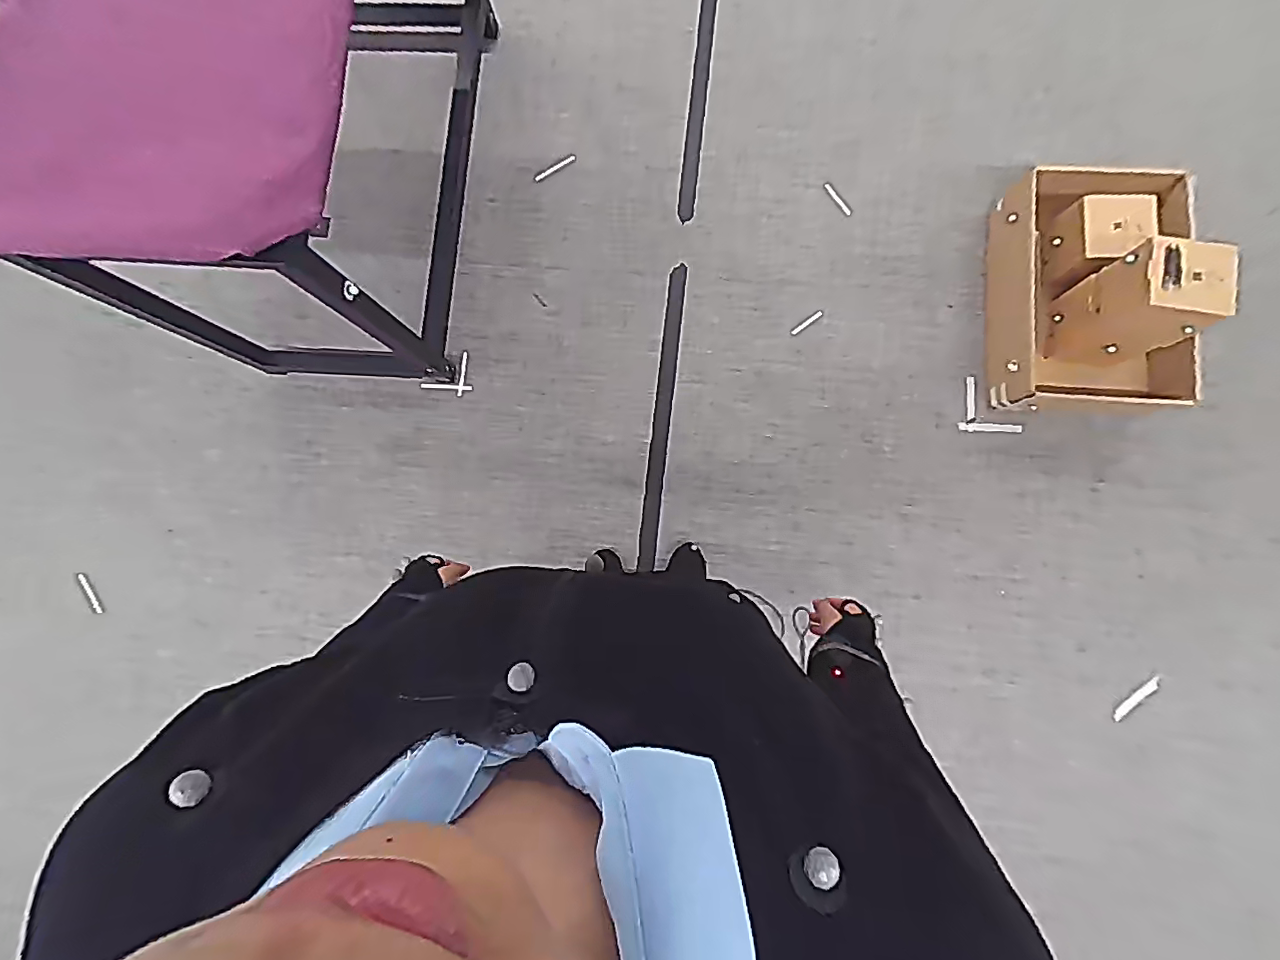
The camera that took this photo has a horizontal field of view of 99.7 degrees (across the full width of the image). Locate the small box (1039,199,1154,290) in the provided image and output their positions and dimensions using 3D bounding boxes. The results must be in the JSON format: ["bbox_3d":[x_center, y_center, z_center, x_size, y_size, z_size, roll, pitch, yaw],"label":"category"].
[{"bbox_3d":[1.195,-0.616,1.429,0.179,0.176,0.168,3,85,3],"label":"small box"}]

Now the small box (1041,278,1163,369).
[{"bbox_3d":[1.198,-0.400,1.409,0.179,0.176,0.168,9,82,5],"label":"small box"}]
